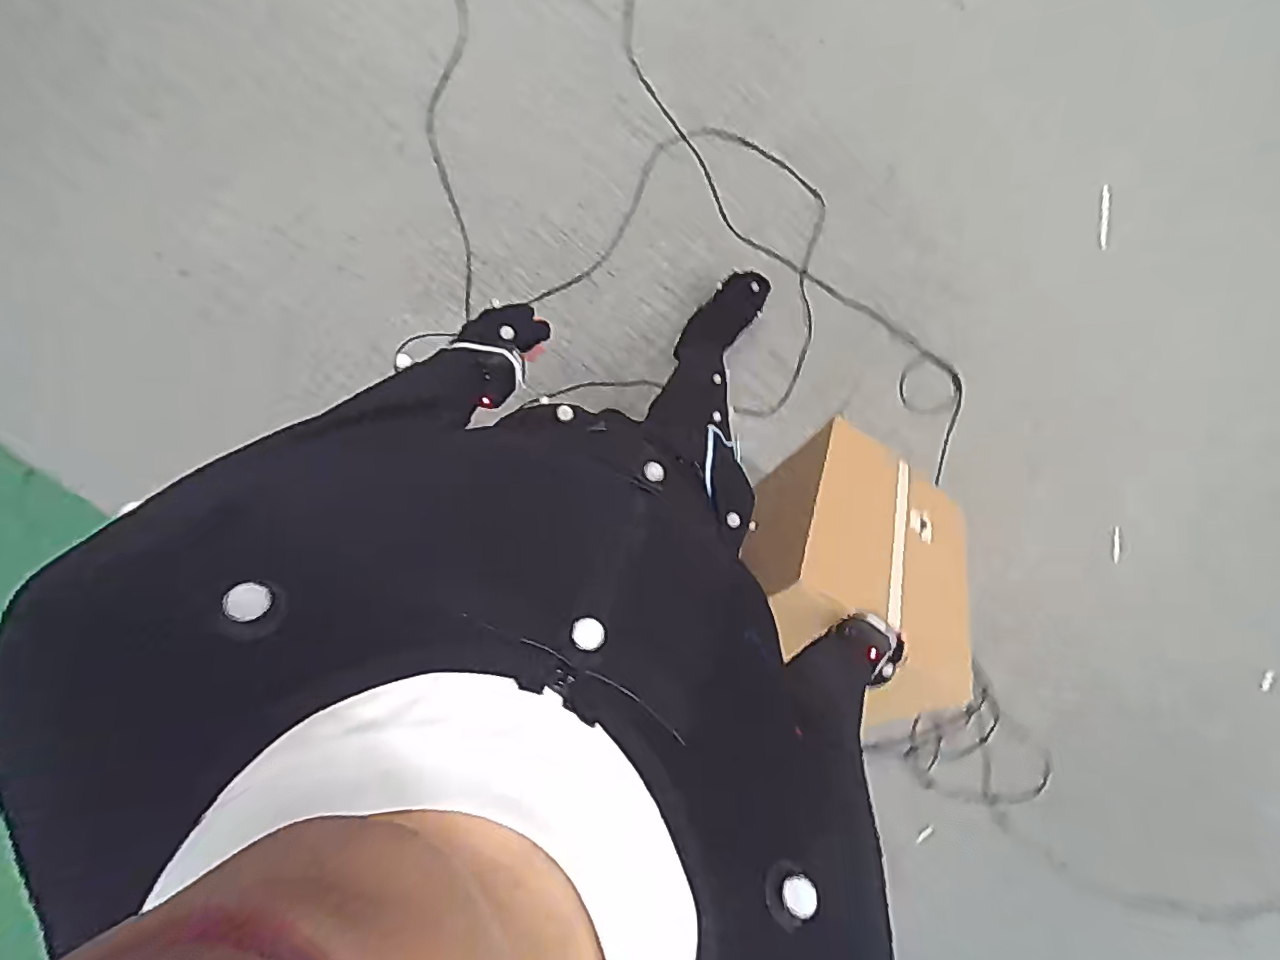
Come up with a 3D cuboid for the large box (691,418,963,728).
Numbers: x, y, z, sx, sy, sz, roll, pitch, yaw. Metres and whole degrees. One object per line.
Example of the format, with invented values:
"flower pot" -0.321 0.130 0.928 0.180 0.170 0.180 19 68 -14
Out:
"large box" 0.343 0.172 1.003 0.320 0.408 0.320 36 136 -6
